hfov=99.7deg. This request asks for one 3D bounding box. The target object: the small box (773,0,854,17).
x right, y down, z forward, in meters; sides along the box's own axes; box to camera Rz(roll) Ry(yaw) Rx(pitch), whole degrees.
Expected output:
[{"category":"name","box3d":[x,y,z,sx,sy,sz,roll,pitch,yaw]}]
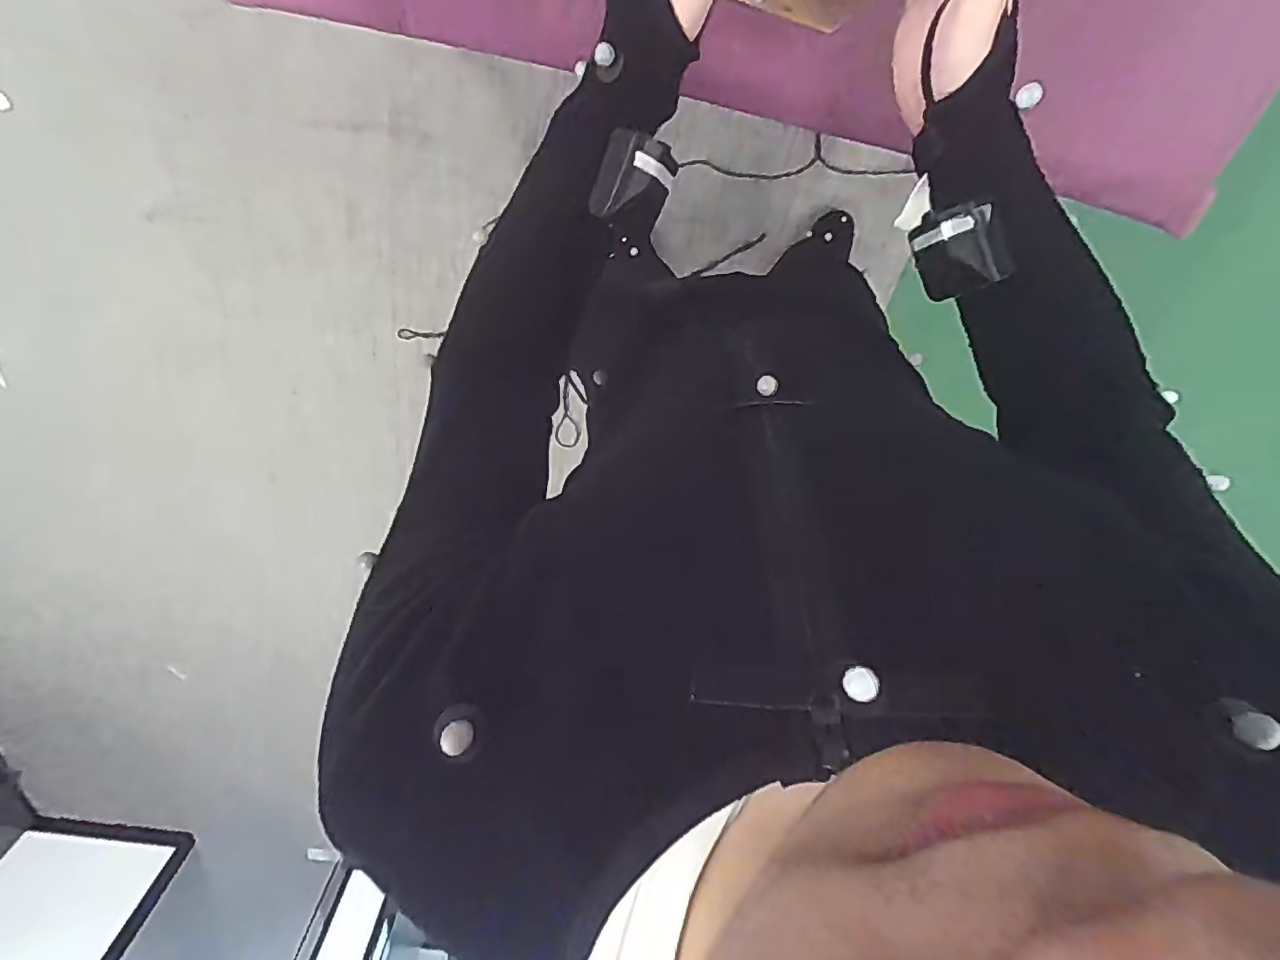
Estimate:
[{"category":"small box","box3d":[0.158,-0.565,0.485,0.168,0.176,0.179,13,121,-7]}]
